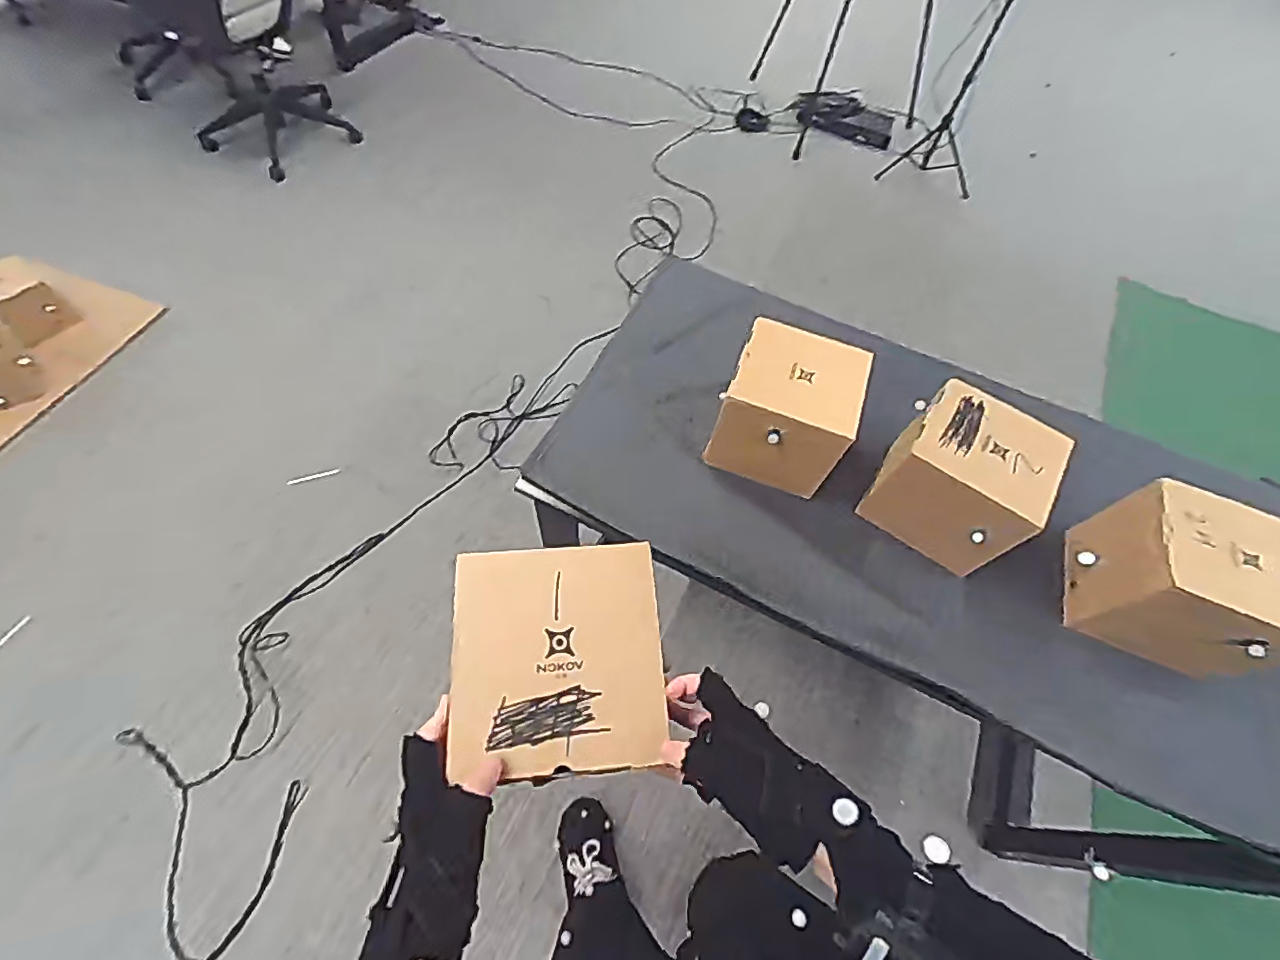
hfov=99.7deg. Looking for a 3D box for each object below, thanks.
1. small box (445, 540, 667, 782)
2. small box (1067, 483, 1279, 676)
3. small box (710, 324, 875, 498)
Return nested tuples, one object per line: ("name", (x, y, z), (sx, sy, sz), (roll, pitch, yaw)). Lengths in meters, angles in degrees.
("small box", (-0.070, 0.164, 0.498), (0.168, 0.176, 0.179), (-2, 66, -6))
("small box", (0.712, 0.138, 0.706), (0.179, 0.176, 0.168), (23, 59, 9))
("small box", (0.221, -0.095, 0.809), (0.179, 0.176, 0.168), (20, 60, 7))
